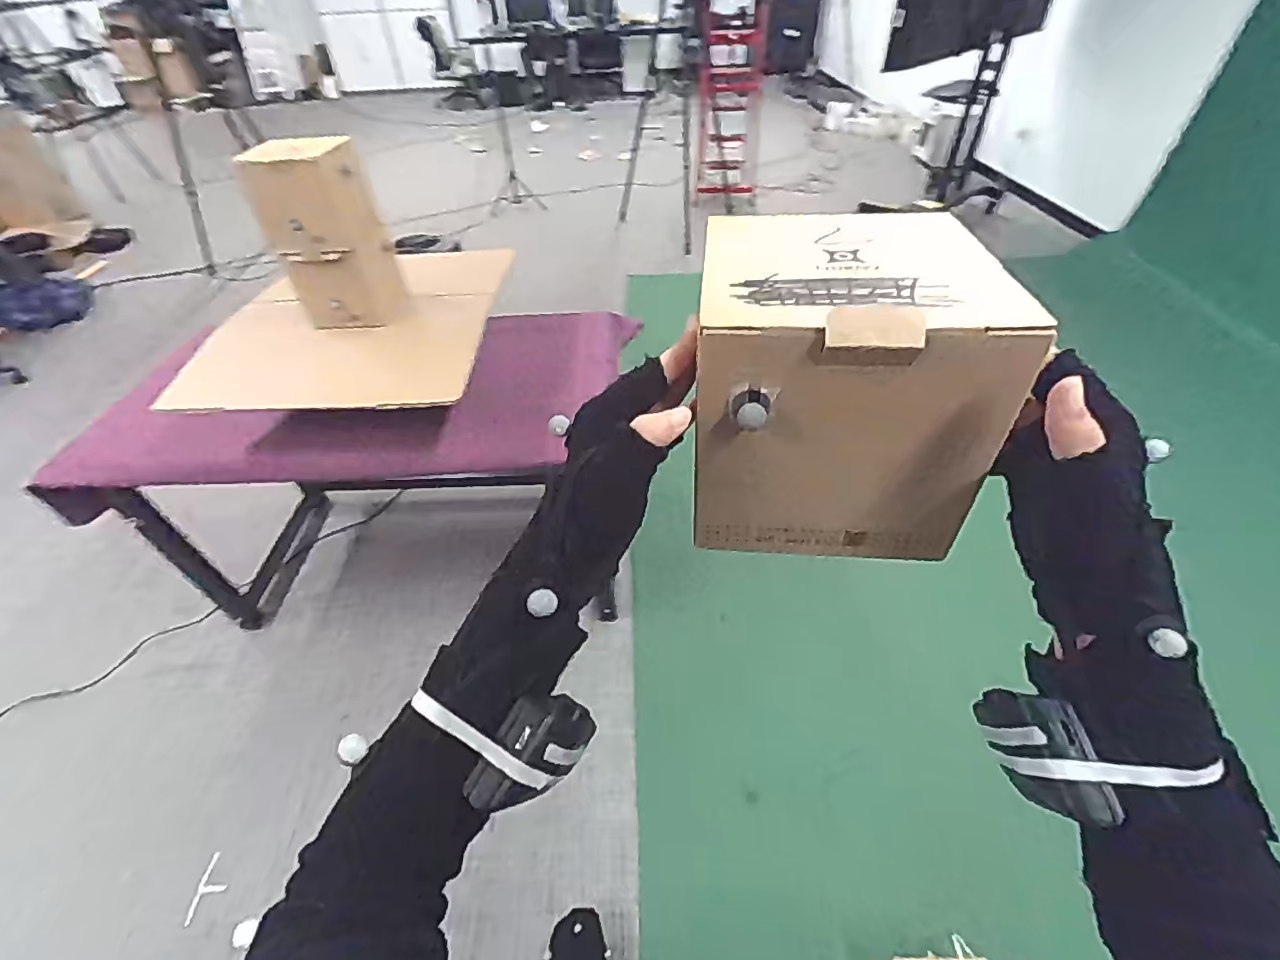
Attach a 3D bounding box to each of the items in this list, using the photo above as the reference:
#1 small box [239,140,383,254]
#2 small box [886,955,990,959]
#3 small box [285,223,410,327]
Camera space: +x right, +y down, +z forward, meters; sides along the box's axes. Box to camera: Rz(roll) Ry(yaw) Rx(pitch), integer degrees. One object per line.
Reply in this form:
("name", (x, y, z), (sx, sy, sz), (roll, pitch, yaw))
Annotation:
("small box", (-0.646, -0.571, 1.092), (0.168, 0.176, 0.179), (-2, 44, 1))
("small box", (0.547, 0.977, 0.976), (0.179, 0.176, 0.168), (-1, 45, 2))
("small box", (-0.638, -0.457, 1.209), (0.168, 0.176, 0.179), (-1, 44, 3))
